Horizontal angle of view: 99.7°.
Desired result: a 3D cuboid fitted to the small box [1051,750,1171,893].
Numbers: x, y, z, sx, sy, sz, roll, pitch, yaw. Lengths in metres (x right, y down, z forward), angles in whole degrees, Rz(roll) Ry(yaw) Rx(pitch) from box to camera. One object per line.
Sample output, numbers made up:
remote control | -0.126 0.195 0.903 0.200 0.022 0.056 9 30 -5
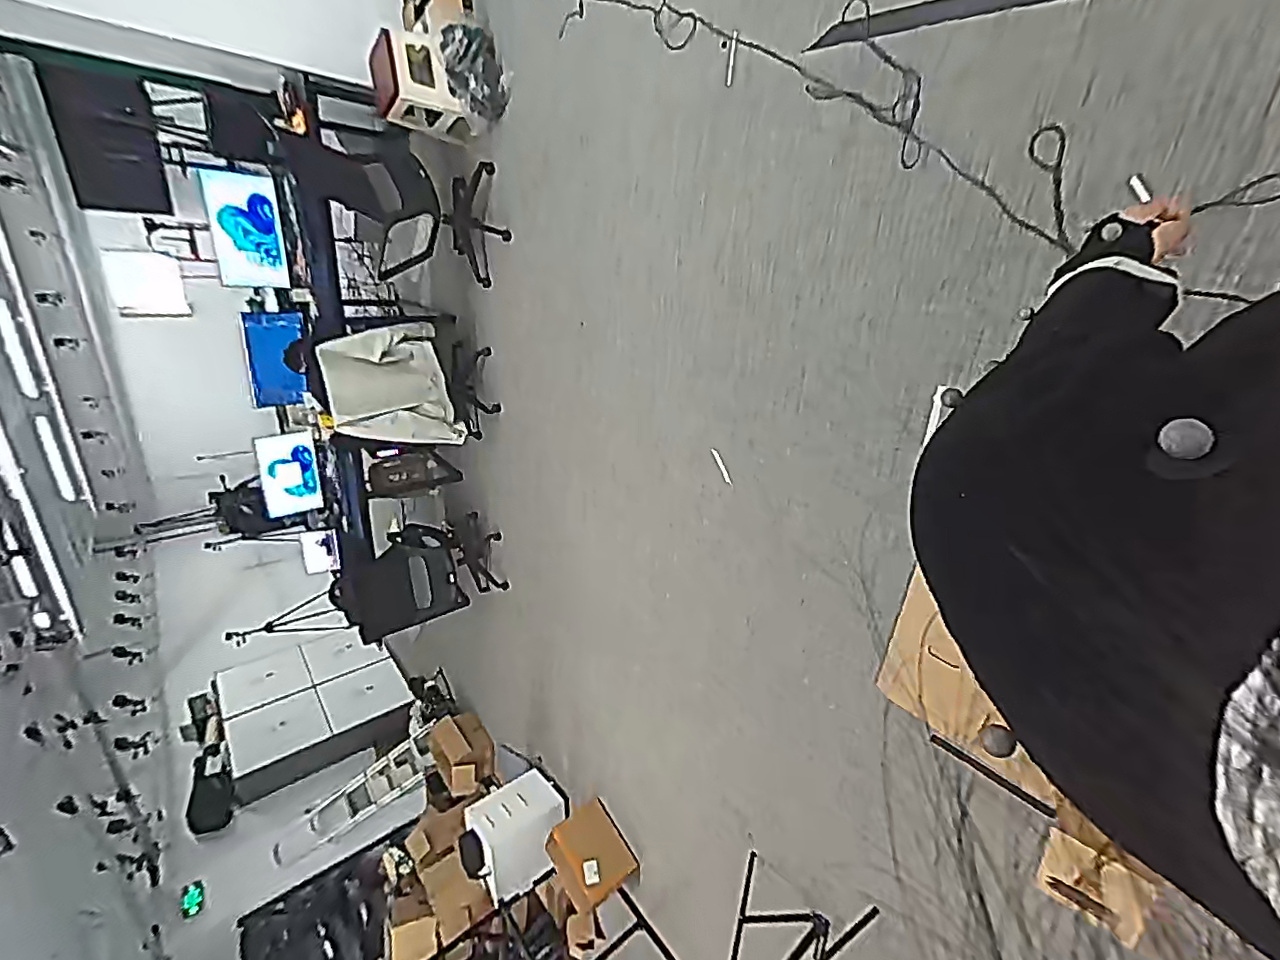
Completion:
small box | 1.073 0.765 1.231 0.168 0.176 0.179 16 114 46
